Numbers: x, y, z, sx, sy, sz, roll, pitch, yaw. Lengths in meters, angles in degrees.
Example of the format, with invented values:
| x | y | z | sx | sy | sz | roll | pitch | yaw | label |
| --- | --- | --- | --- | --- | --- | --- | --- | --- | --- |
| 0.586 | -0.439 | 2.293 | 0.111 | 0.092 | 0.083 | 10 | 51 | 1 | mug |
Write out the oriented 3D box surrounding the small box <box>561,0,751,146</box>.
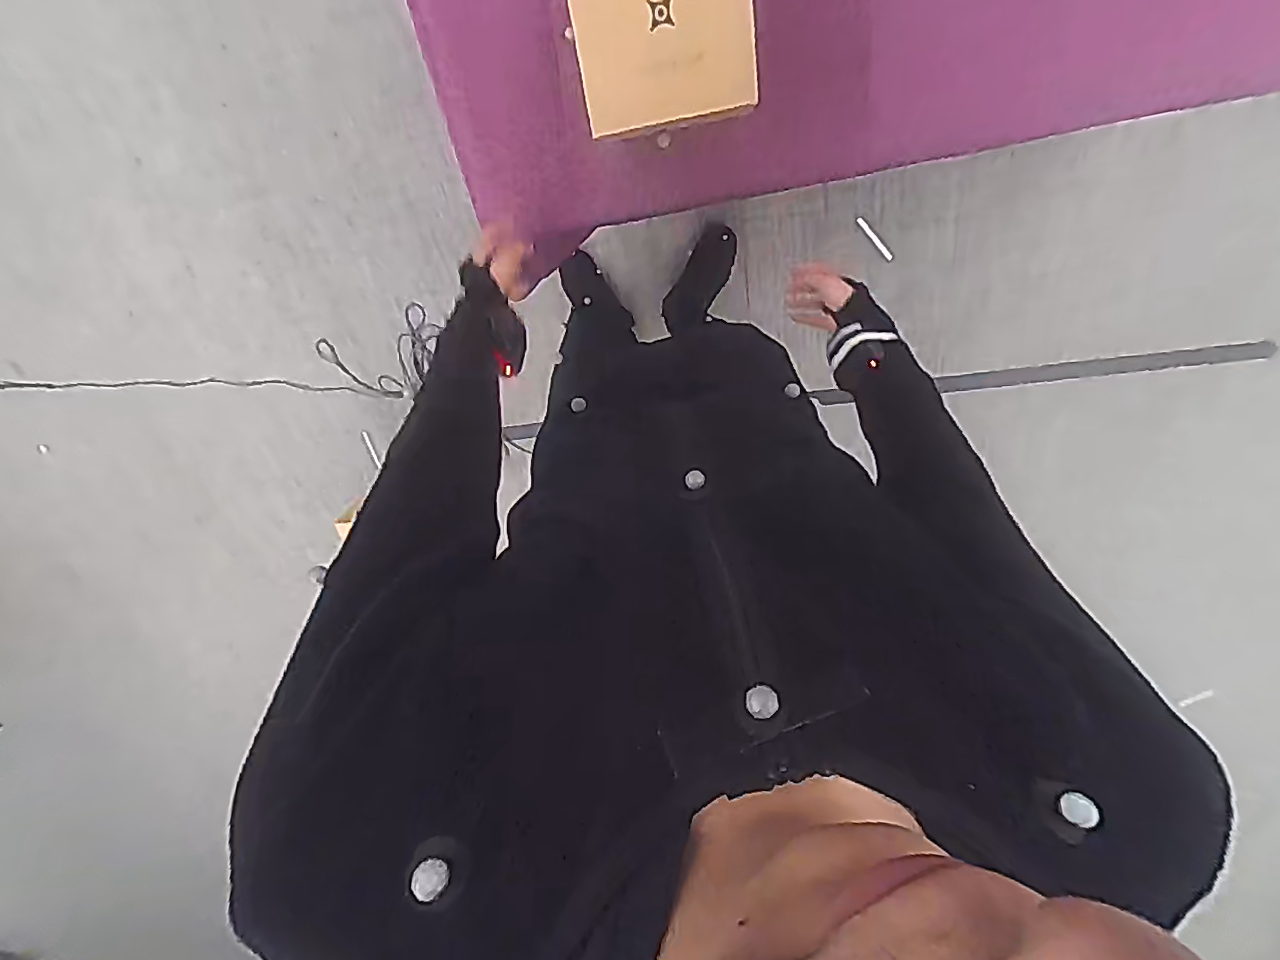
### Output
| x | y | z | sx | sy | sz | roll | pitch | yaw | label |
| --- | --- | --- | --- | --- | --- | --- | --- | --- | --- |
| 0.020 | -0.455 | 0.549 | 0.168 | 0.176 | 0.179 | -5 | 120 | 10 | small box |
